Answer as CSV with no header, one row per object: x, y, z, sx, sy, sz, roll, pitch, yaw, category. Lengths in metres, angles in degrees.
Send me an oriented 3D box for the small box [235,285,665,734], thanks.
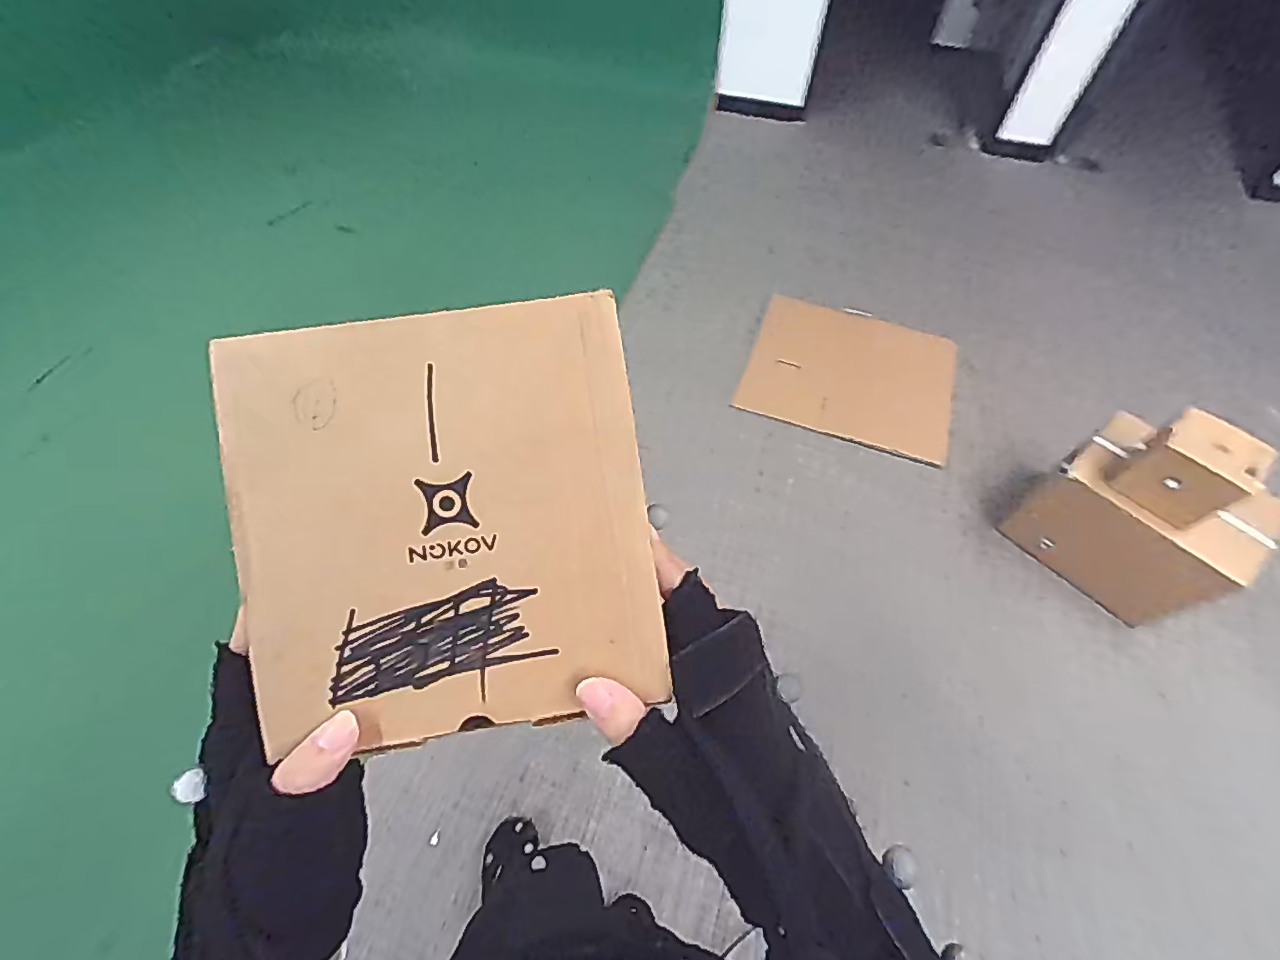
-0.082,0.013,0.310,0.168,0.176,0.179,-8,88,-3,small box

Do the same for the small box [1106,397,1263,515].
1.228,-0.050,1.231,0.179,0.176,0.168,38,64,21,small box
